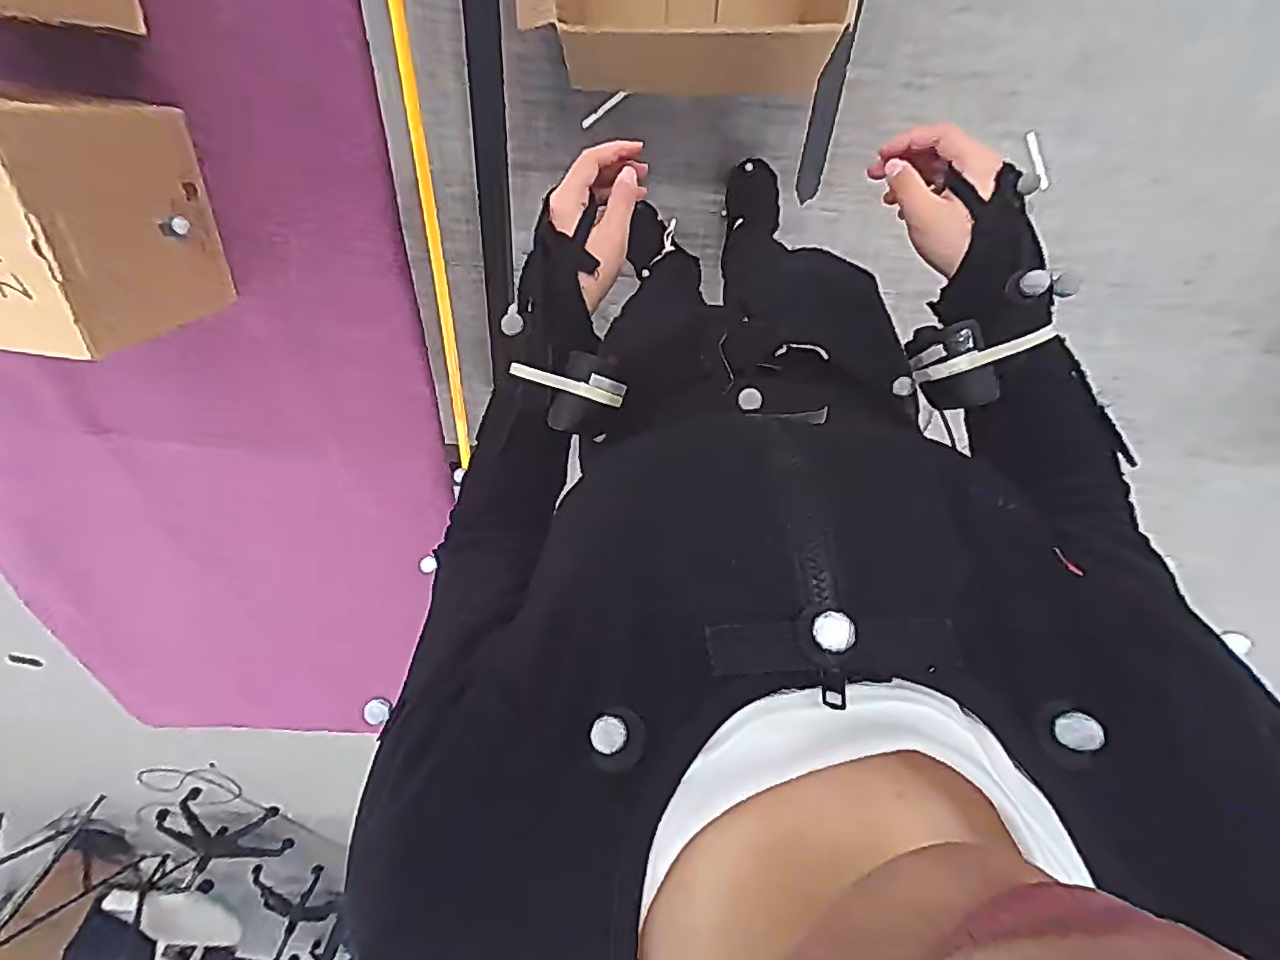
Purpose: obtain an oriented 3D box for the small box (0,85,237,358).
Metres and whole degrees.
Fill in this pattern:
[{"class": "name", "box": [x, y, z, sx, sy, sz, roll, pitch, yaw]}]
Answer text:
[{"class": "small box", "box": [-0.489, -0.217, 0.442, 0.179, 0.176, 0.168, 8, 124, -1]}]
